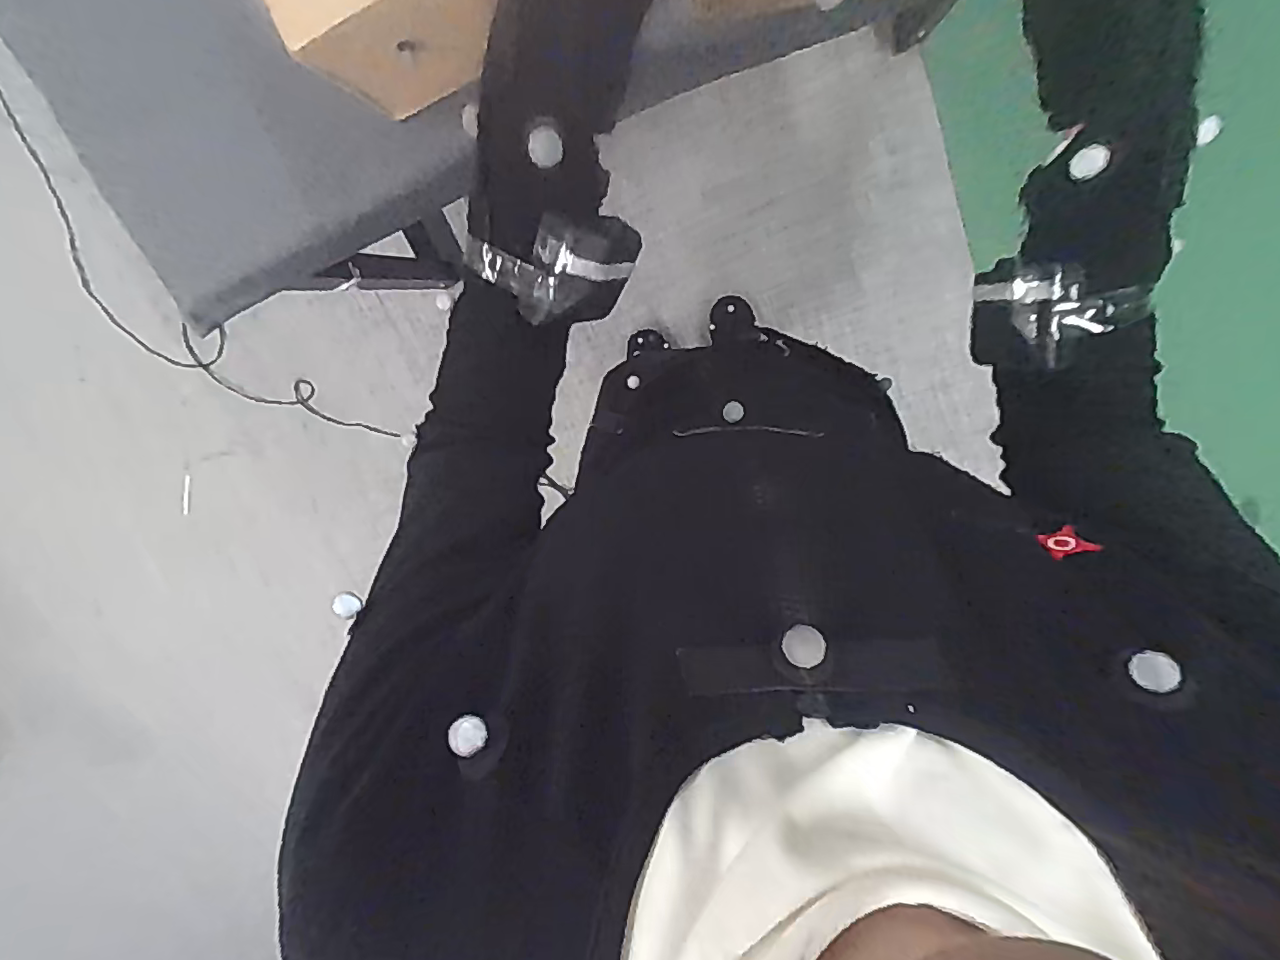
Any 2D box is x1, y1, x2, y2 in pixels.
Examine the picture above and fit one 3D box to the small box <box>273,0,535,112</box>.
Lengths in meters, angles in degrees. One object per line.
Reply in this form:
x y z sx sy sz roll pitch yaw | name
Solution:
-0.221 -0.474 0.484 0.179 0.176 0.168 -19 104 12 | small box
